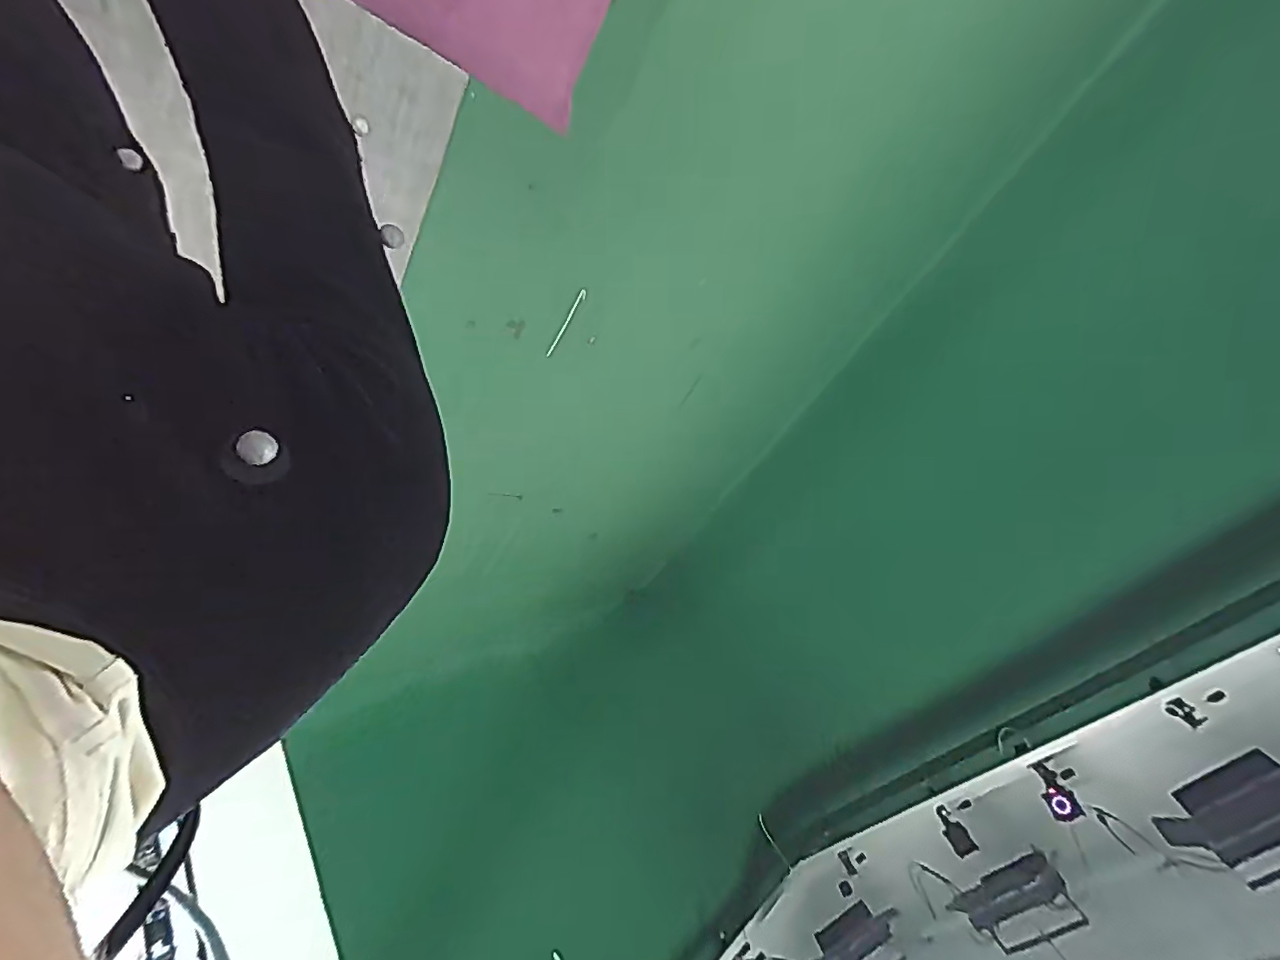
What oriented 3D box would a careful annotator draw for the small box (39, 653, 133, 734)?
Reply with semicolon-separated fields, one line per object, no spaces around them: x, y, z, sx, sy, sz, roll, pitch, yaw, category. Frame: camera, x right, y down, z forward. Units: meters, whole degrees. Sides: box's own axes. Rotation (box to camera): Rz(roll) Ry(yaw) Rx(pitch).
-1.558;0.612;1.521;0.179;0.176;0.168;-3;139;-47;small box

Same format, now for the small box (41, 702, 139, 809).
-1.471;0.731;1.448;0.179;0.176;0.168;-5;141;-46;small box
